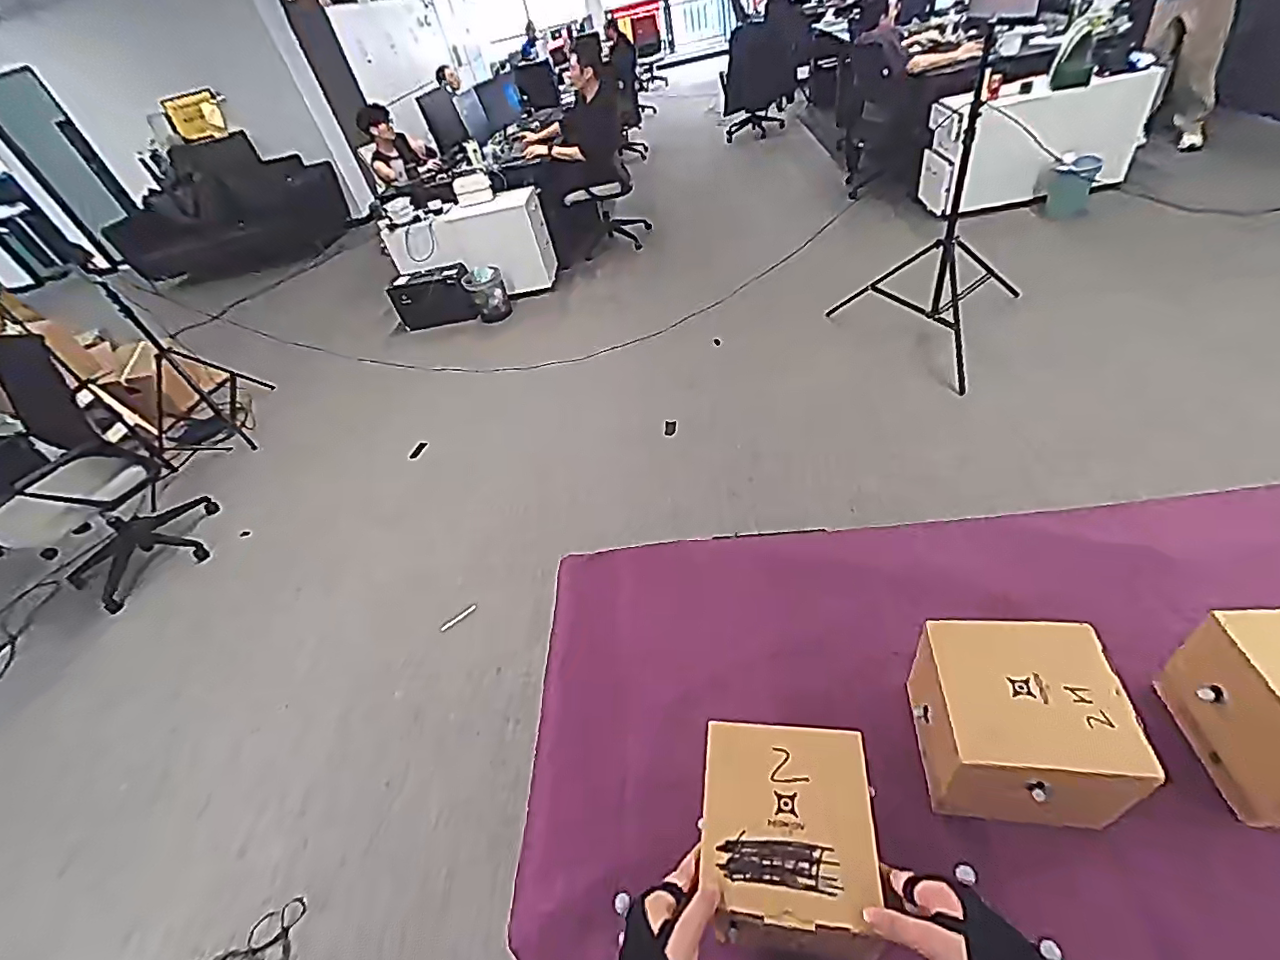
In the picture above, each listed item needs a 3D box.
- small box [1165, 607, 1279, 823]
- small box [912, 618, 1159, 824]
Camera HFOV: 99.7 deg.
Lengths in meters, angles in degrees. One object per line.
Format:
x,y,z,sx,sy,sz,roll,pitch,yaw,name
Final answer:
0.723,0.252,0.577,0.179,0.176,0.168,-5,41,11,small box
0.429,0.279,0.631,0.179,0.176,0.168,-2,44,14,small box
